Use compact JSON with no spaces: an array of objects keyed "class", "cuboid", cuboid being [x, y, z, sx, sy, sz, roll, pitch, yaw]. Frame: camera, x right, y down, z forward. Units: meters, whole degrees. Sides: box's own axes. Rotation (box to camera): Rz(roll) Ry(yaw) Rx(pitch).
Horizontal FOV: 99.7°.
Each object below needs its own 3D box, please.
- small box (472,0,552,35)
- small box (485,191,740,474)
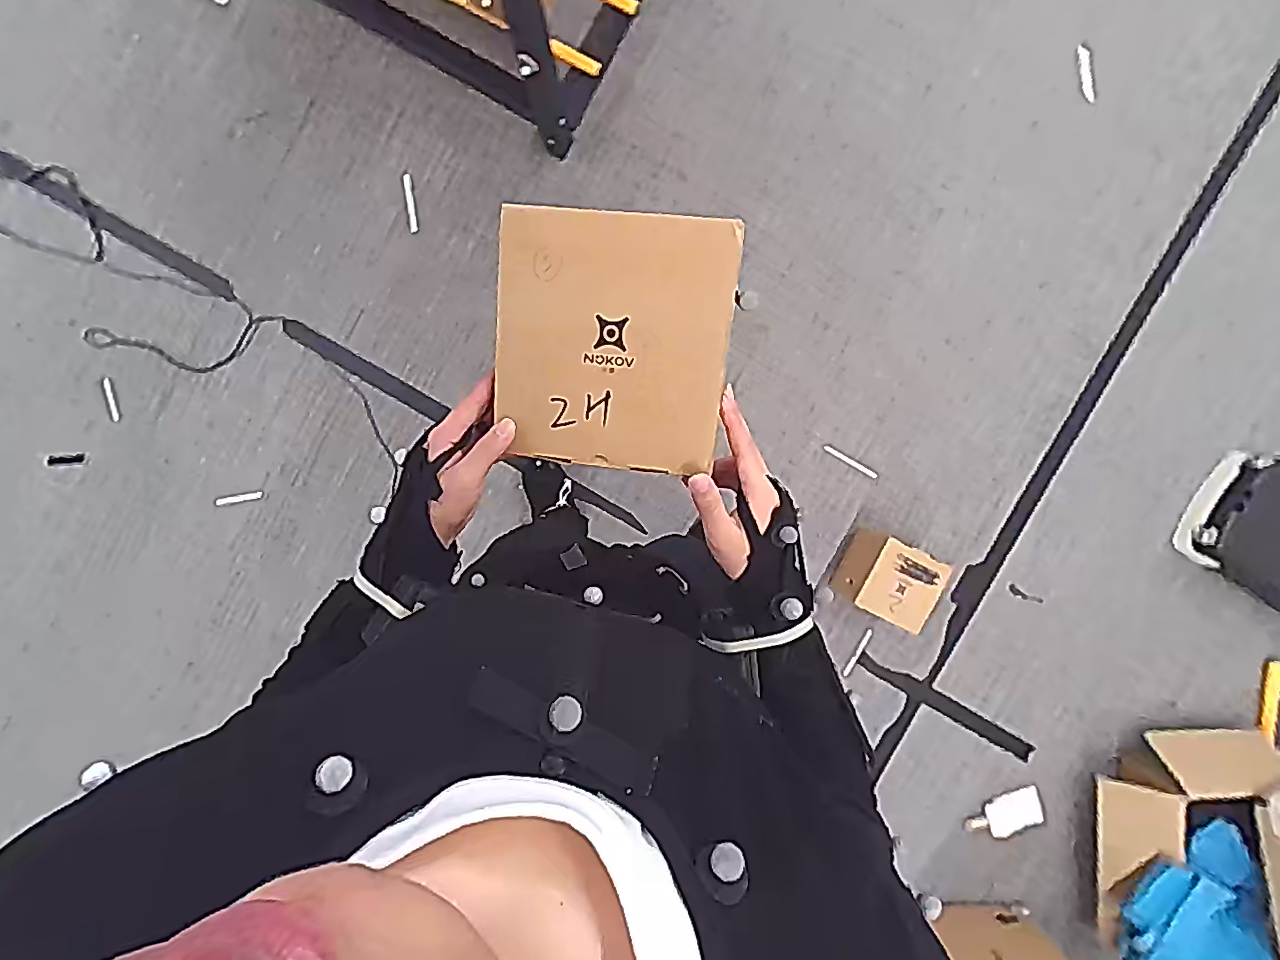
[{"class":"small box","cuboid":[-0.266,-1.080,1.101,0.168,0.176,0.179,29,95,-1]},{"class":"small box","cuboid":[-0.014,-0.115,0.445,0.168,0.176,0.179,7,104,7]}]
